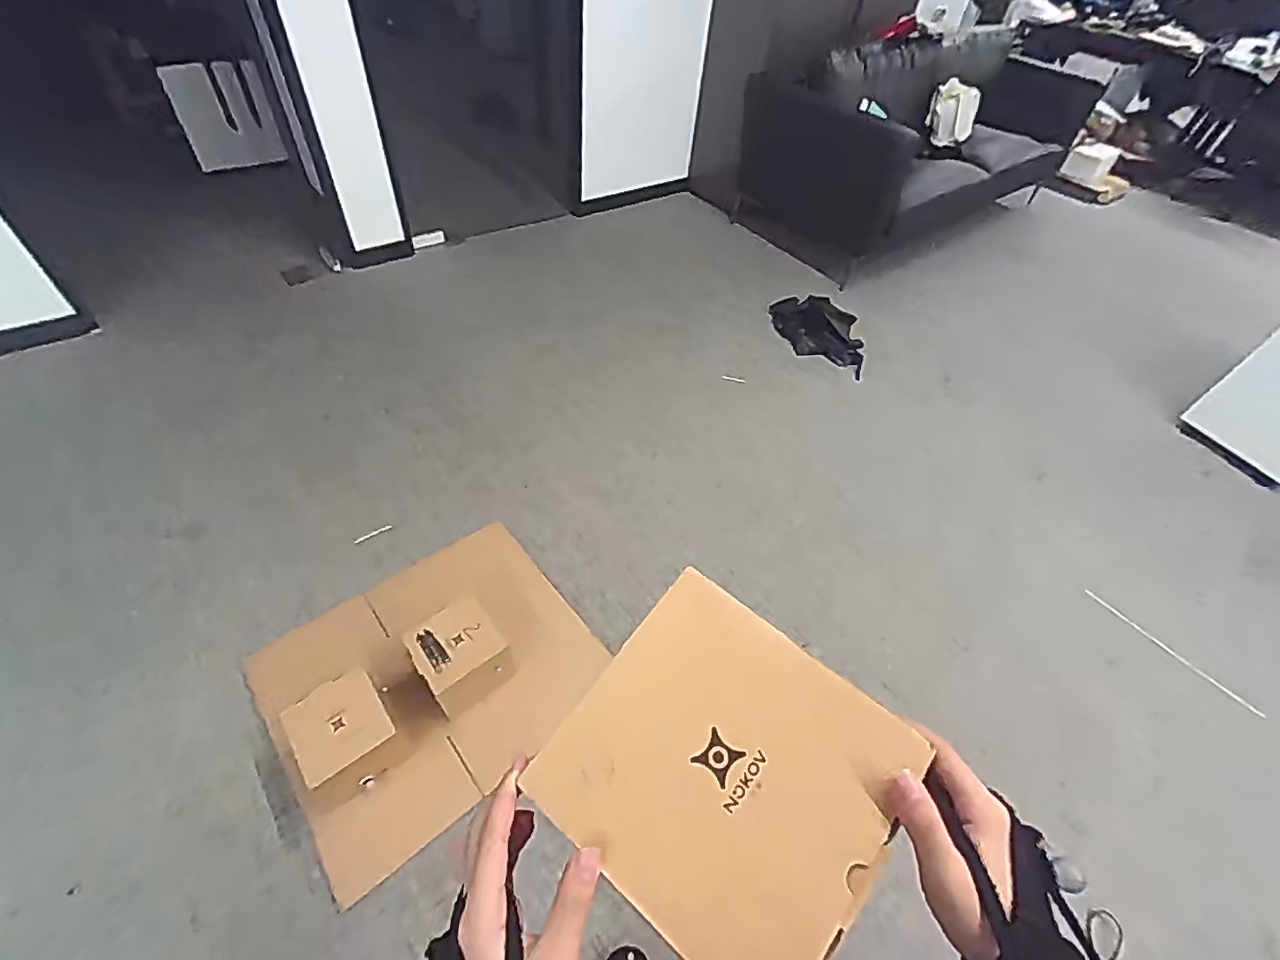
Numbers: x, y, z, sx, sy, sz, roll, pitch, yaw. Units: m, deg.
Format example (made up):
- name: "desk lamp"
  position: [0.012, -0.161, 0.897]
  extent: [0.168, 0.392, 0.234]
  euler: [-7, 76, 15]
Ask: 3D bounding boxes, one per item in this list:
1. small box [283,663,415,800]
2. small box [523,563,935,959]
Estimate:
- name: "small box"
  position: [-0.592, 0.522, 1.117]
  extent: [0.168, 0.176, 0.179]
  euler: [-30, 60, -28]
- name: "small box"
  position: [0.052, 0.194, 0.373]
  extent: [0.179, 0.176, 0.168]
  euler: [35, 69, 20]
